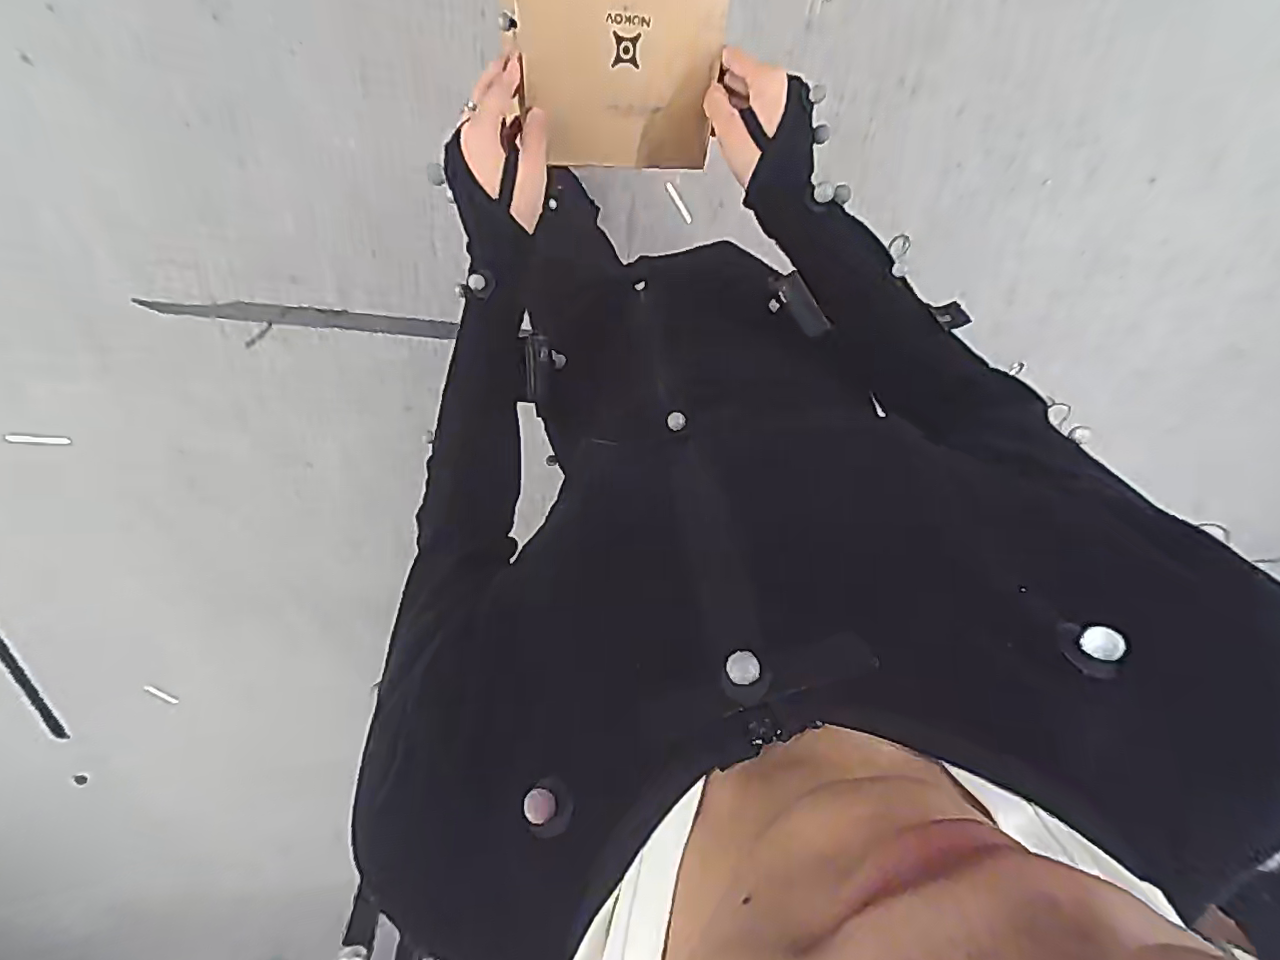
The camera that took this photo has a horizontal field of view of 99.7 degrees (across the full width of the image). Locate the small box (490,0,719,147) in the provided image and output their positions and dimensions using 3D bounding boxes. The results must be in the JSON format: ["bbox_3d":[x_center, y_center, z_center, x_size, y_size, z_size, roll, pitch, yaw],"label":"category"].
[{"bbox_3d":[-0.040,-0.406,0.466,0.168,0.176,0.179,-7,132,-15],"label":"small box"}]
